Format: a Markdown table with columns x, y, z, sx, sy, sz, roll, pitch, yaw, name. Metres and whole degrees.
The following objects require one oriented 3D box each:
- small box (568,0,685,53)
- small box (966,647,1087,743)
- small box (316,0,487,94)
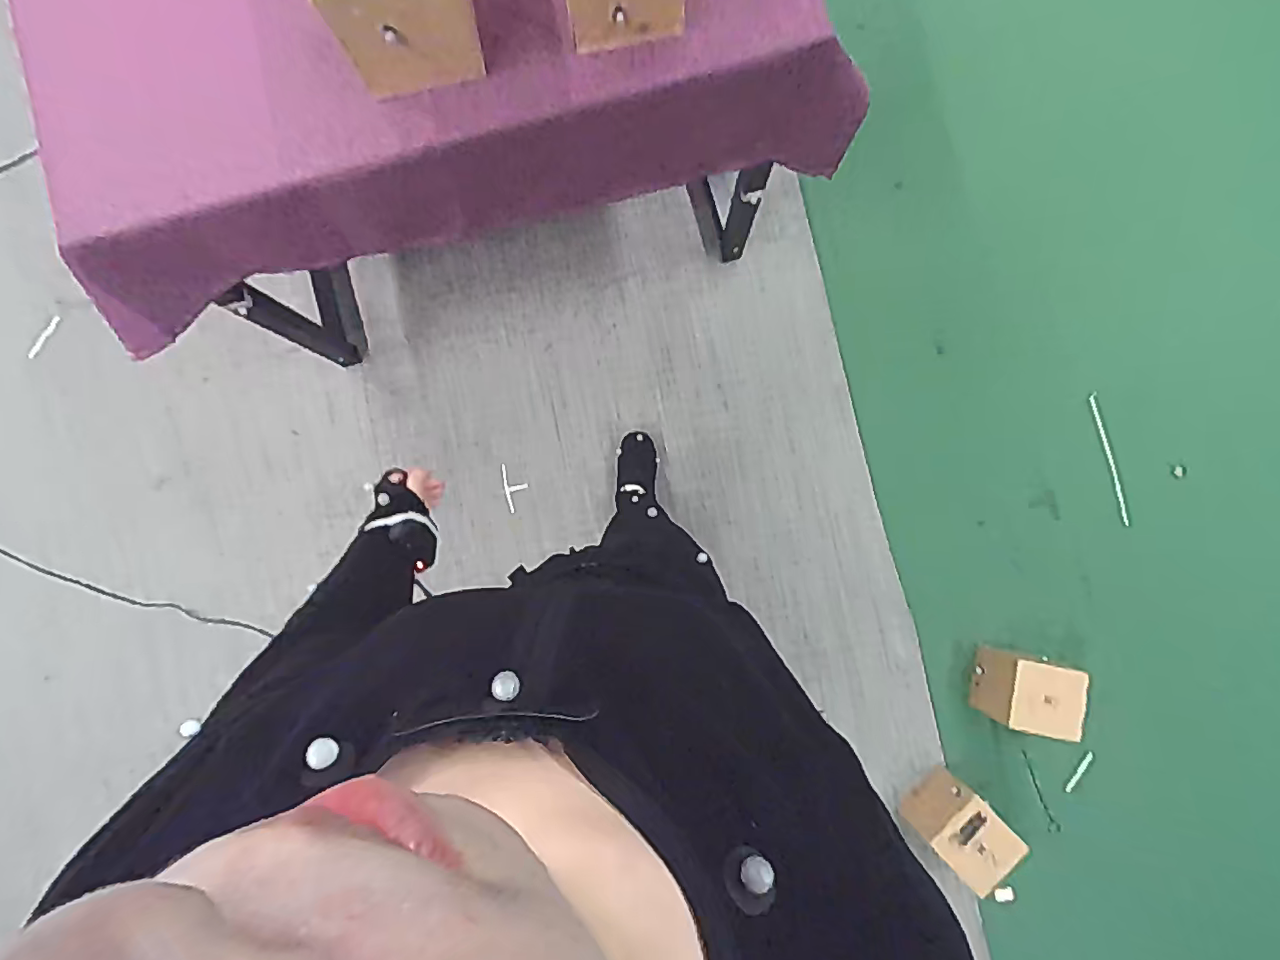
| x | y | z | sx | sy | sz | roll | pitch | yaw | name |
| --- | --- | --- | --- | --- | --- | --- | --- | --- | --- |
| -0.029 | -0.753 | 0.752 | 0.168 | 0.176 | 0.179 | -10 | 86 | 0 | small box |
| 0.973 | 0.537 | 1.373 | 0.179 | 0.176 | 0.168 | 12 | 86 | 1 | small box |
| -0.331 | -0.678 | 0.748 | 0.179 | 0.176 | 0.168 | -11 | 86 | 0 | small box |
